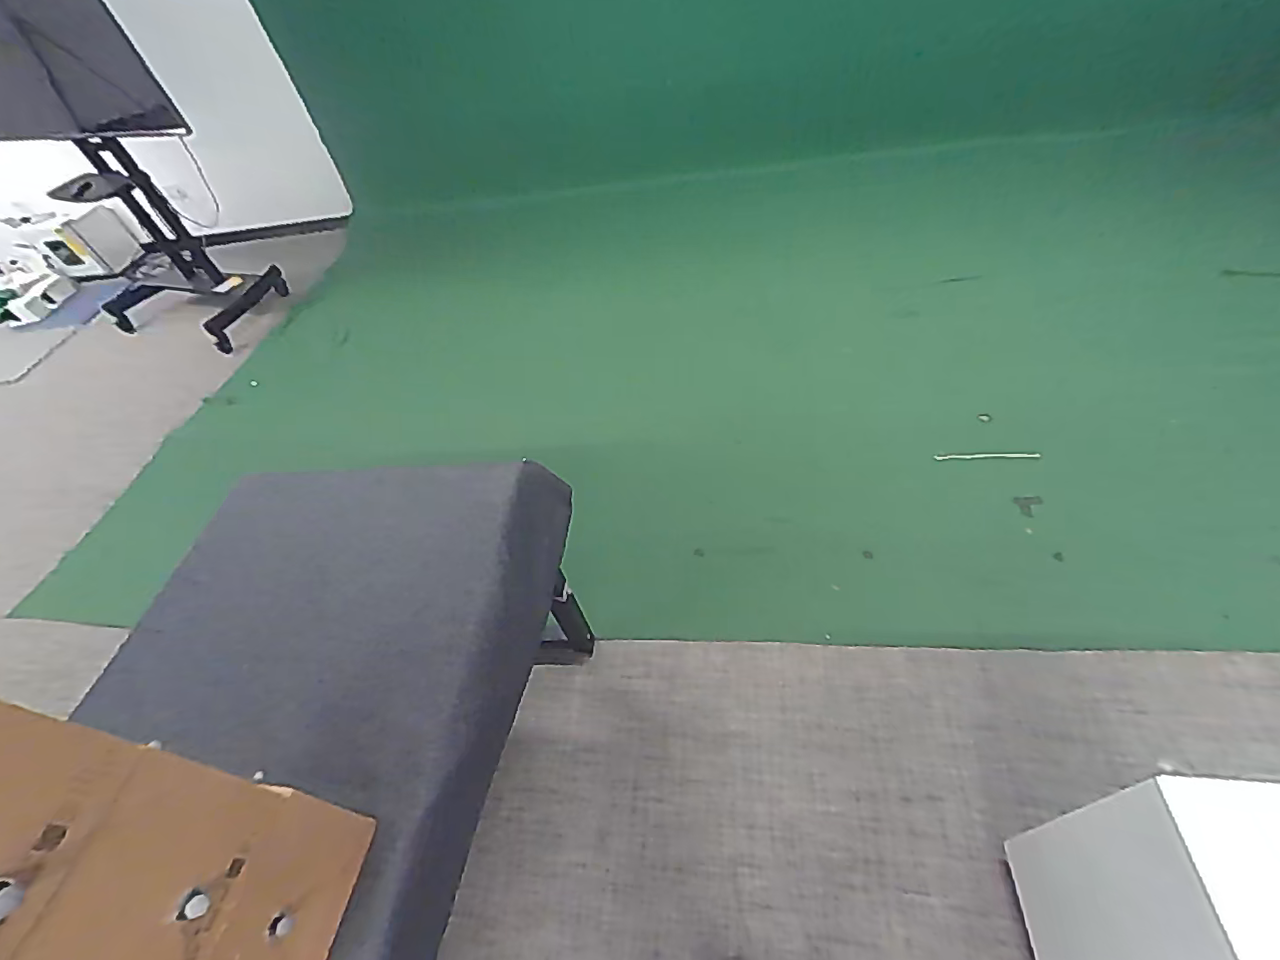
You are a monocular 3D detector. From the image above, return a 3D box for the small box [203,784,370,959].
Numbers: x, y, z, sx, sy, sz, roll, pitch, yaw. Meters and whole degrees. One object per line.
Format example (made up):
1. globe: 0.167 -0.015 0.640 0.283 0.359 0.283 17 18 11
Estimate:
1. small box: -0.420 0.421 0.560 0.168 0.176 0.179 0 50 12
